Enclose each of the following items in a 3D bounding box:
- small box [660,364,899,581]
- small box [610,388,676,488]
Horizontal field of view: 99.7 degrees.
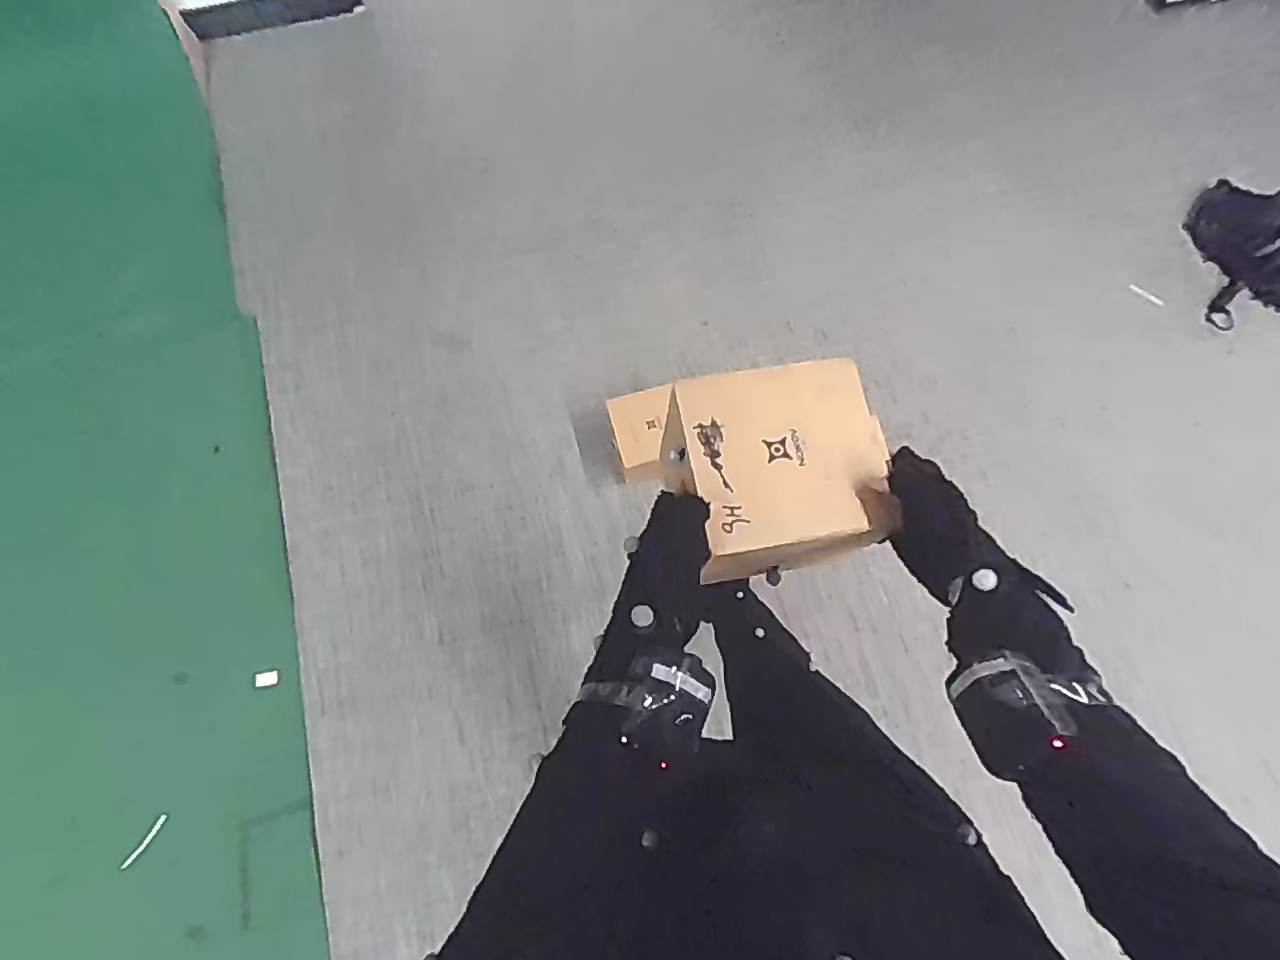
[{"bbox_3d":[0.124,0.002,0.559,0.179,0.176,0.168,-8,71,-6],"label":"small box"},{"bbox_3d":[0.037,-0.094,1.264,0.179,0.176,0.168,-16,76,-2],"label":"small box"}]
